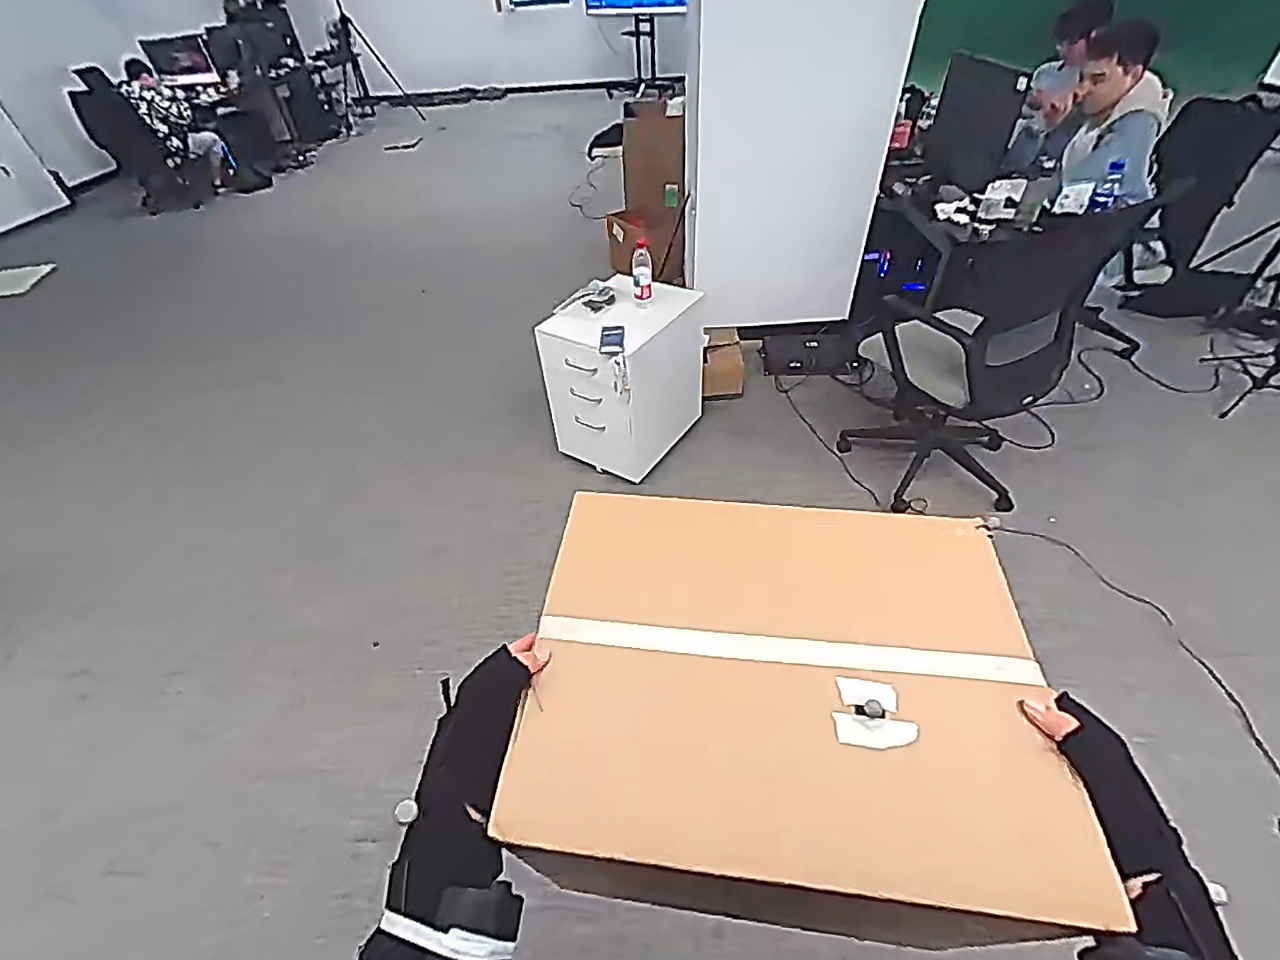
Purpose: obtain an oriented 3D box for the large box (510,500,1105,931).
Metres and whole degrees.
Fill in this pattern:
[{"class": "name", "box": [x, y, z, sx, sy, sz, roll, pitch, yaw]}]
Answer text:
[{"class": "large box", "box": [0.123, 0.245, 0.571, 0.408, 0.320, 0.320, 4, 49, 6]}]
